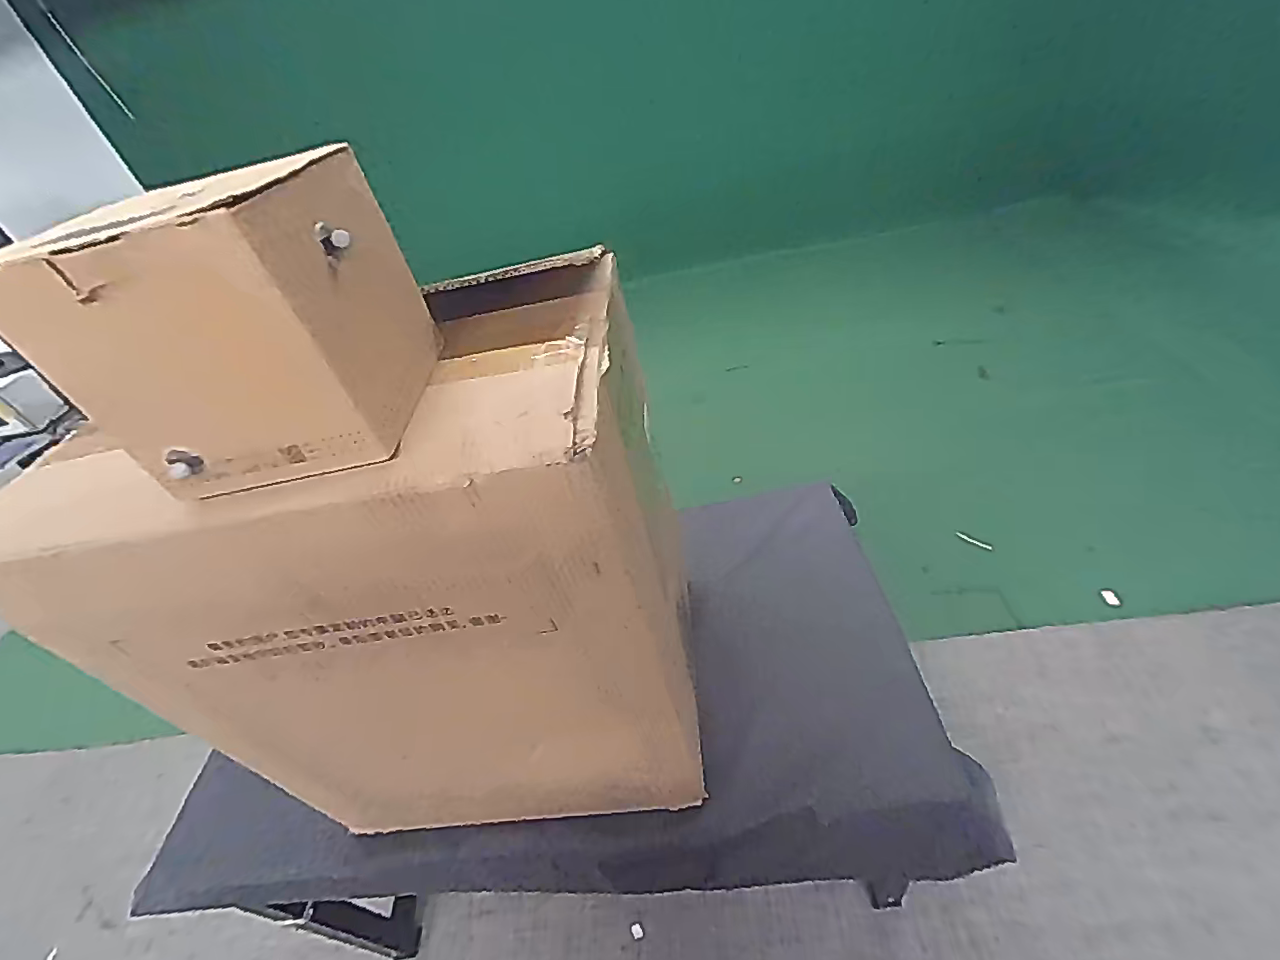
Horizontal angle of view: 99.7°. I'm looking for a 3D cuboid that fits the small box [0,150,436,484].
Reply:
[{"bbox_3d":[-0.274,-0.112,0.395,0.168,0.176,0.179,-10,40,5],"label":"small box"}]
